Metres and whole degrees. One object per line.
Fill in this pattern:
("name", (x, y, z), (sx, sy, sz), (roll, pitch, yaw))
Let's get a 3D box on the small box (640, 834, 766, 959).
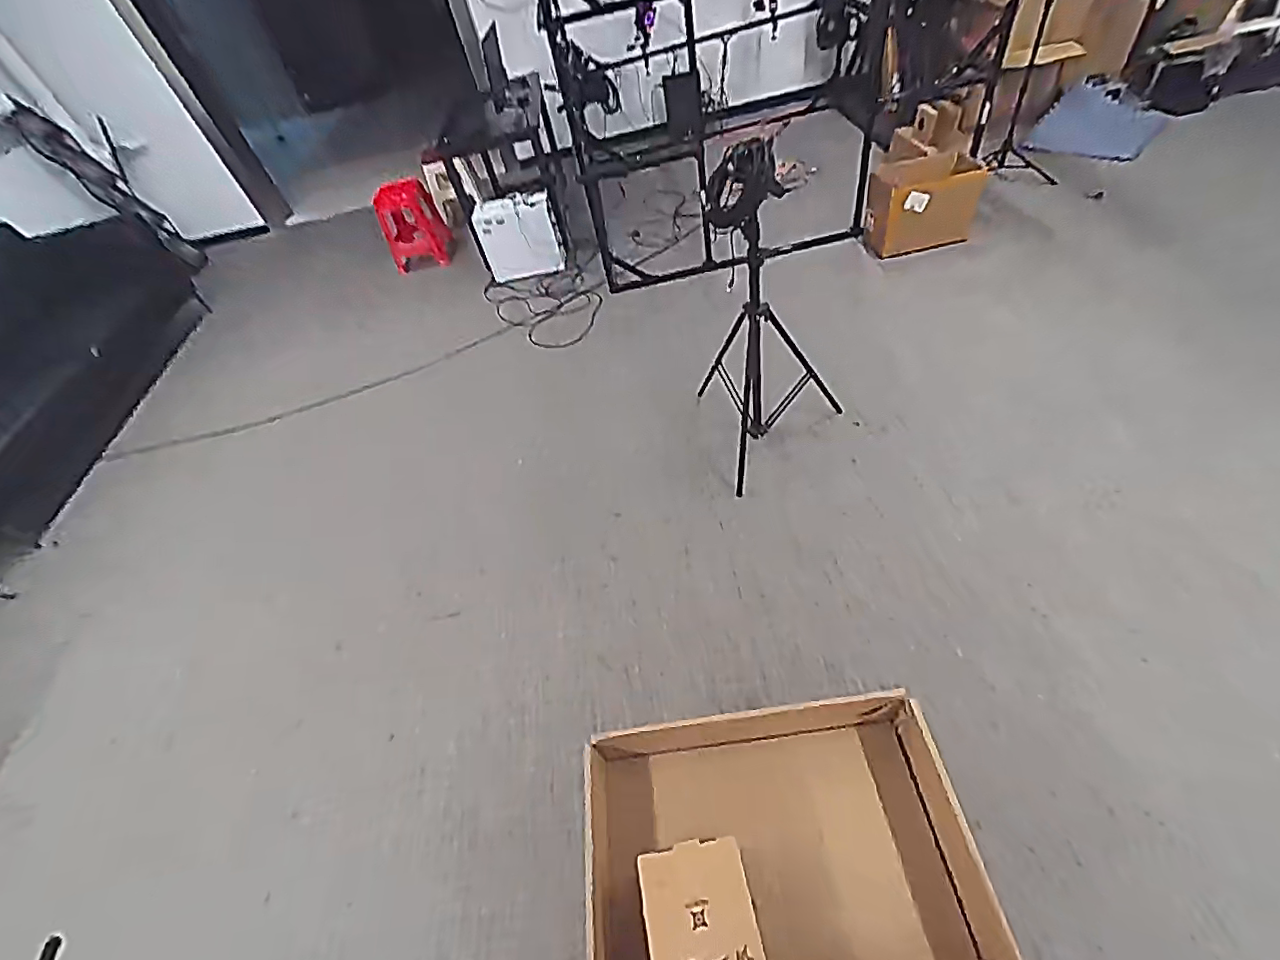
("small box", (0.103, 0.705, 0.877), (0.168, 0.176, 0.179), (-14, 48, 1))
